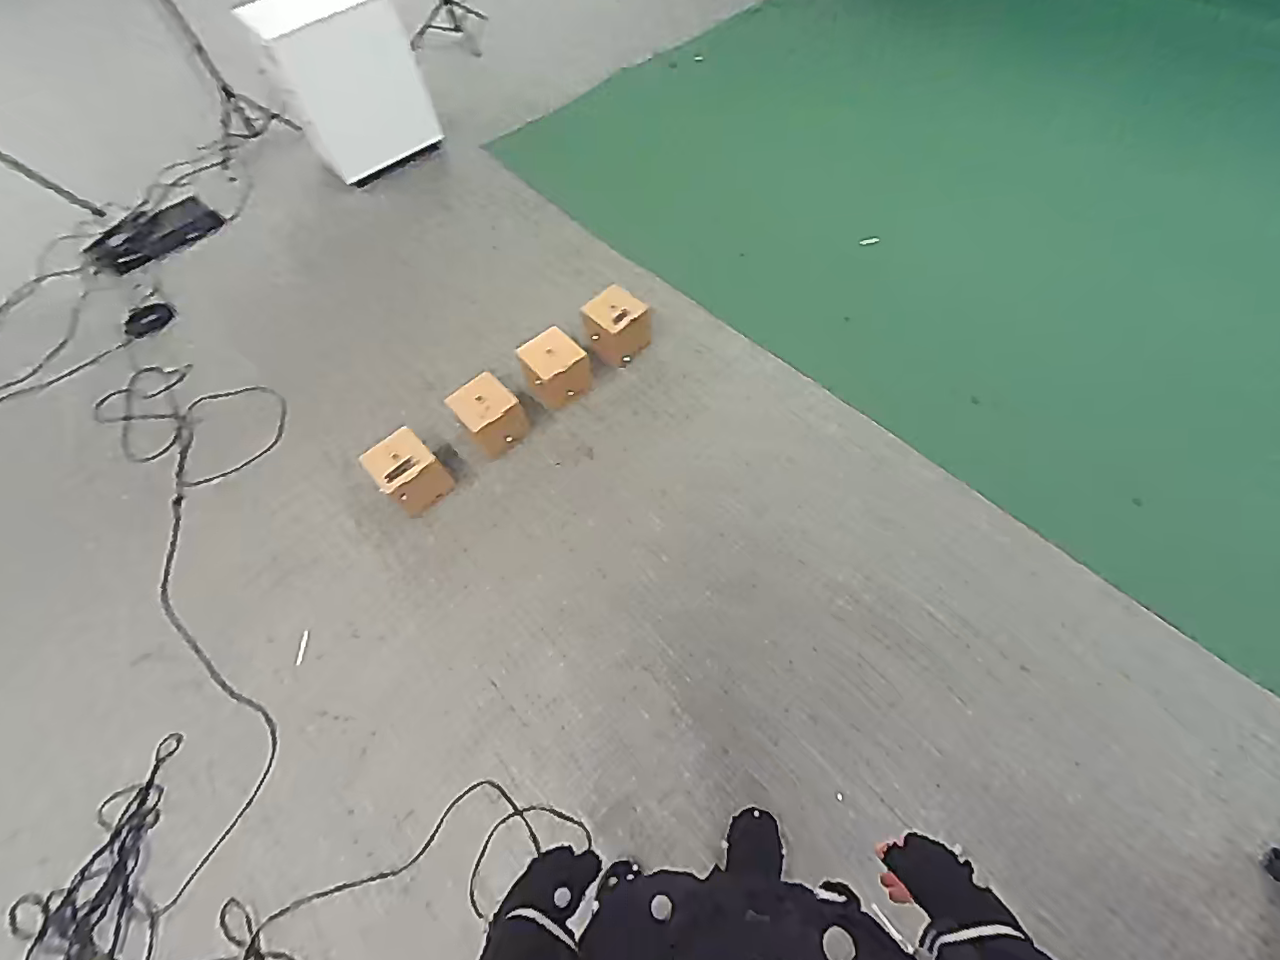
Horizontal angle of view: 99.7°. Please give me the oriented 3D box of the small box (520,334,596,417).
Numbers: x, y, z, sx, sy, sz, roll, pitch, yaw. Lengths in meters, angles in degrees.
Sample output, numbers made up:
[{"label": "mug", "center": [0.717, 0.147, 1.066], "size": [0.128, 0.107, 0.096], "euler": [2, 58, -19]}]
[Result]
[{"label": "small box", "center": [-0.268, -0.342, 1.795], "size": [0.168, 0.176, 0.179], "euler": [-37, 64, -17]}]

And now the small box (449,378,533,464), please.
[{"label": "small box", "center": [-0.467, -0.182, 1.714], "size": [0.168, 0.176, 0.179], "euler": [-40, 65, -16]}]

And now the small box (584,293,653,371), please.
[{"label": "small box", "center": [-0.067, -0.503, 1.874], "size": [0.168, 0.176, 0.179], "euler": [-41, 64, -18]}]
